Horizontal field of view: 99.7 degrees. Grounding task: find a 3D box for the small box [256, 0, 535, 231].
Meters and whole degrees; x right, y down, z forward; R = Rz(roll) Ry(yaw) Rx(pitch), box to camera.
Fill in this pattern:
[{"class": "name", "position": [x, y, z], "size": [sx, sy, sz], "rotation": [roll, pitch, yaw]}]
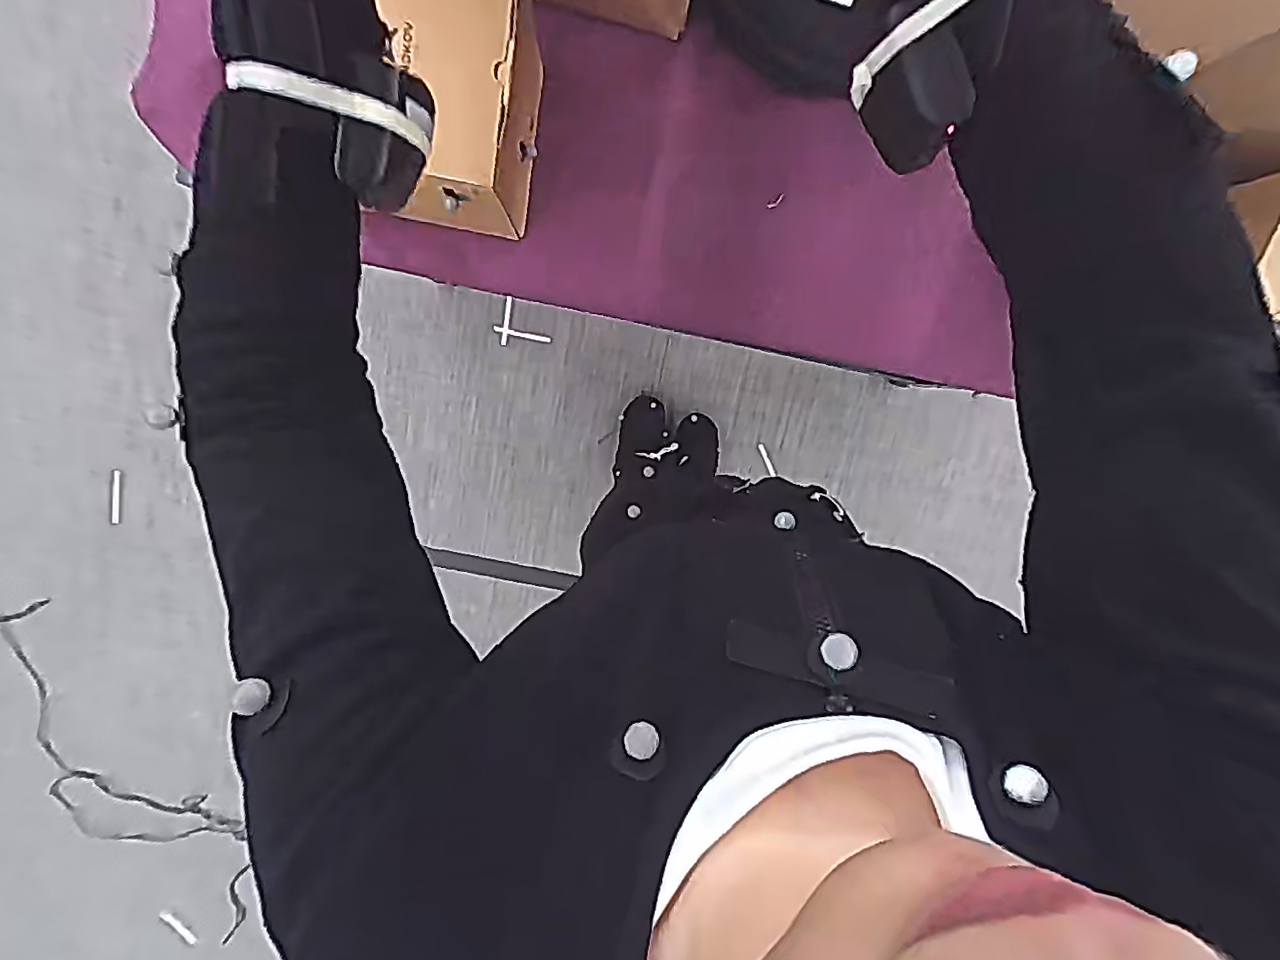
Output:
[{"class": "small box", "position": [-0.196, -0.336, 0.477], "size": [0.179, 0.176, 0.168], "rotation": [8, 101, -8]}]
